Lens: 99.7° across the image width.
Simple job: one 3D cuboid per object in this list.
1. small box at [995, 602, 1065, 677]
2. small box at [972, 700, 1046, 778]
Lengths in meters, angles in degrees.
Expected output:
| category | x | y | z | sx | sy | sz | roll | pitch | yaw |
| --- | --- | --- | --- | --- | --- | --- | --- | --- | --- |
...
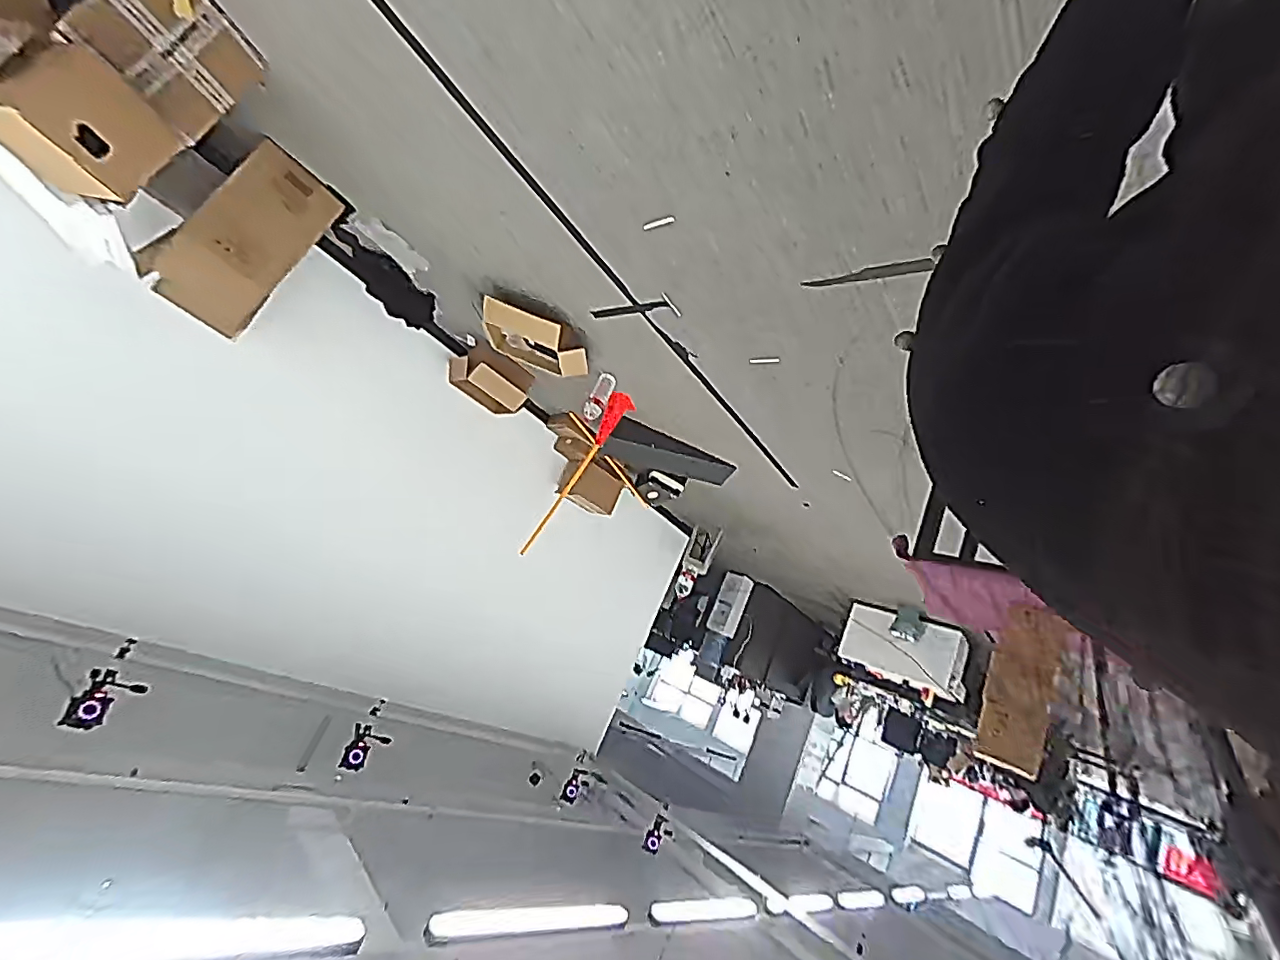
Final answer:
| category | x | y | z | sx | sy | sz | roll | pitch | yaw |
| --- | --- | --- | --- | --- | --- | --- | --- | --- | --- |
| small box | 1.297 | 0.528 | 1.799 | 0.168 | 0.176 | 0.179 | 11 | 159 | 39 |
| small box | 1.162 | 0.811 | 1.705 | 0.168 | 0.176 | 0.179 | 14 | 162 | 38 |
